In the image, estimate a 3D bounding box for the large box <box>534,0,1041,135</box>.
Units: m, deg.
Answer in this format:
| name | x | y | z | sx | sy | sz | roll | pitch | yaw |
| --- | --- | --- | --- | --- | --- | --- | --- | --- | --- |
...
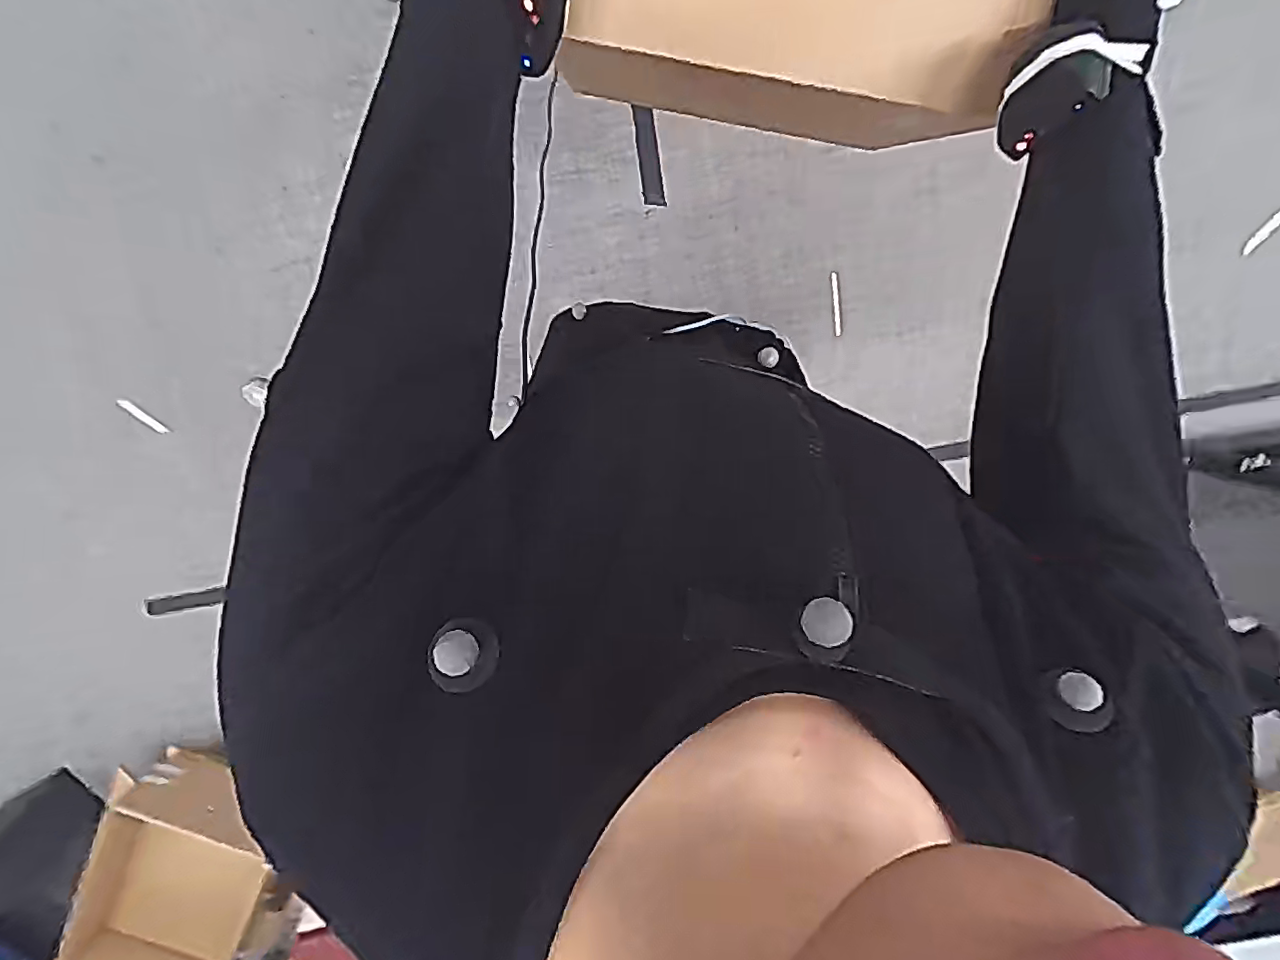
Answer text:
| name | x | y | z | sx | sy | sz | roll | pitch | yaw |
| --- | --- | --- | --- | --- | --- | --- | --- | --- | --- |
| large box | 0.125 | -0.537 | 0.502 | 0.408 | 0.320 | 0.320 | 6 | 119 | -4 |
